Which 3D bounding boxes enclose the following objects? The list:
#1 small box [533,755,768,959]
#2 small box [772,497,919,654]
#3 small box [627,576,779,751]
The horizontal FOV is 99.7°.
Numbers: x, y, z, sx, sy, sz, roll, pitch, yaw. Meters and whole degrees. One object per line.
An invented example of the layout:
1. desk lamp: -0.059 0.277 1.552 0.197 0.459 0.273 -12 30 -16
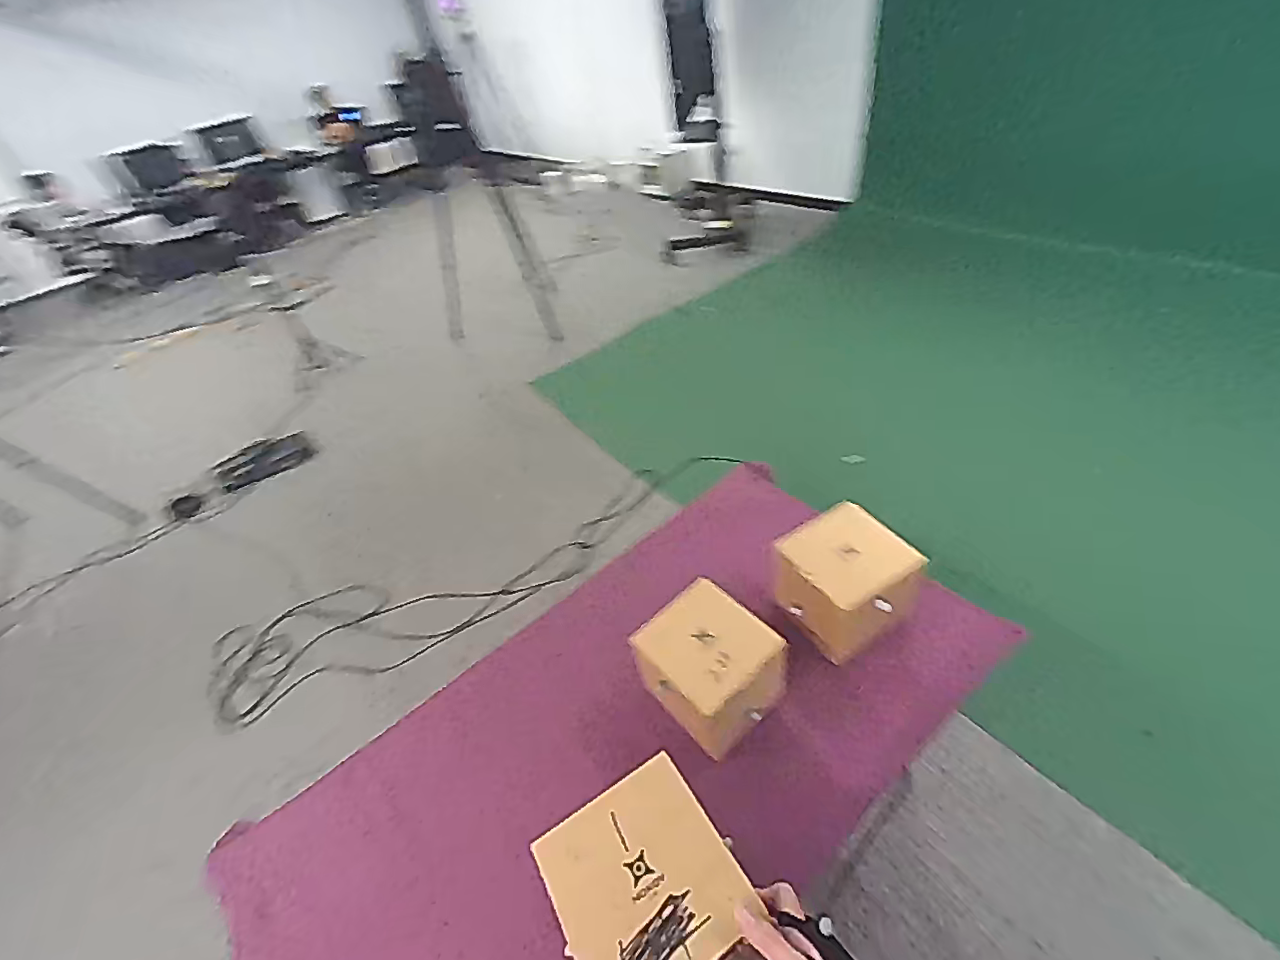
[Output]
1. small box: 0.015 0.434 0.558 0.168 0.176 0.179 -27 43 -17
2. small box: 0.351 0.169 0.954 0.179 0.176 0.168 -29 45 -14
3. small box: 0.106 0.297 0.879 0.168 0.176 0.179 -36 47 -22
